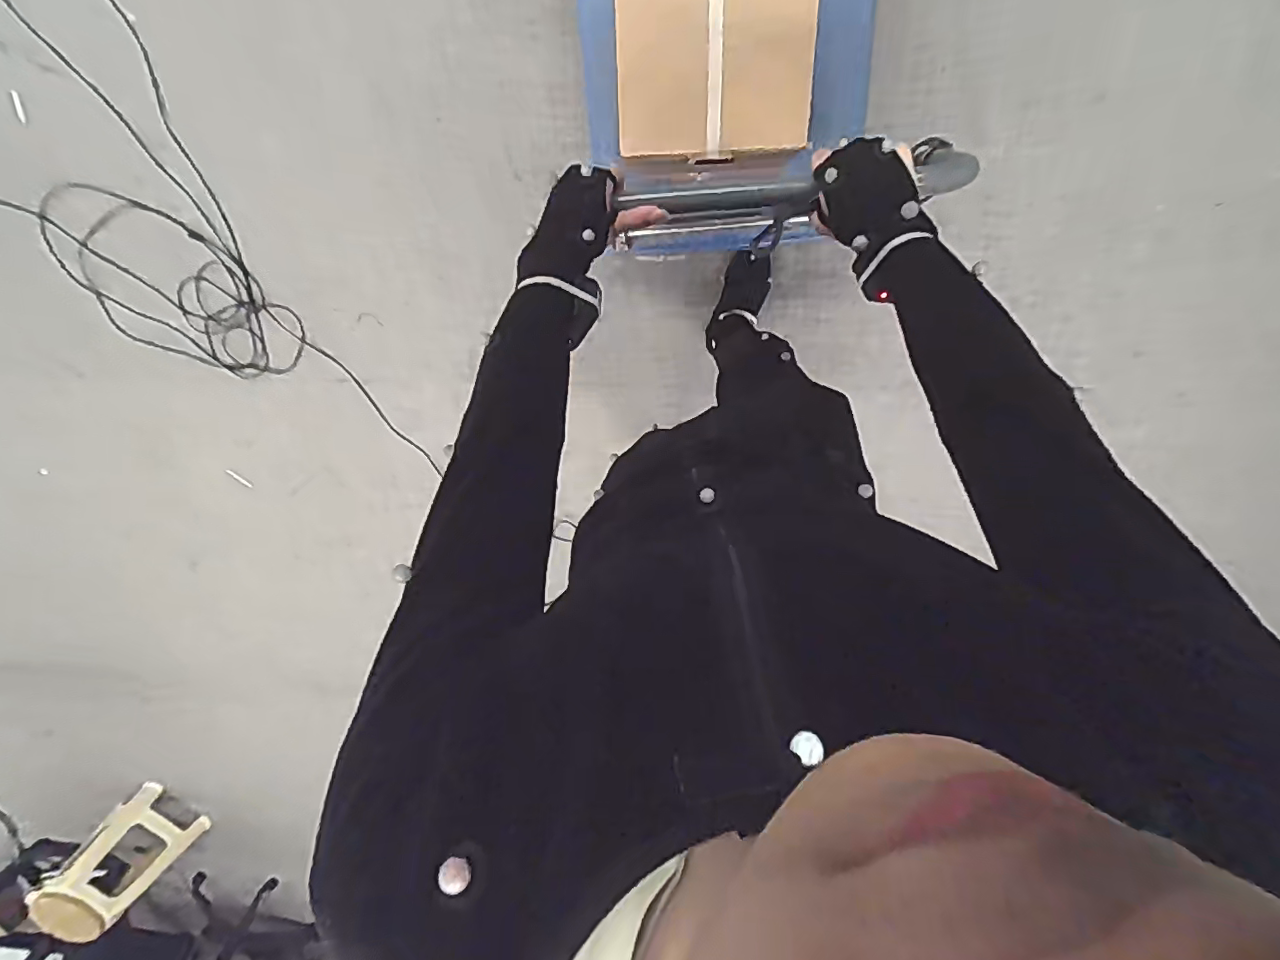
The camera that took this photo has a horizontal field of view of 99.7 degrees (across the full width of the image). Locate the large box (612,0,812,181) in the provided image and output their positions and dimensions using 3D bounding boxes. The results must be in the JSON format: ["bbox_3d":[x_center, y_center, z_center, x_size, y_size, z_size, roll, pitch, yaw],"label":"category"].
[{"bbox_3d":[0.127,-0.792,0.974,0.320,0.320,0.408,1,112,6],"label":"large box"}]
